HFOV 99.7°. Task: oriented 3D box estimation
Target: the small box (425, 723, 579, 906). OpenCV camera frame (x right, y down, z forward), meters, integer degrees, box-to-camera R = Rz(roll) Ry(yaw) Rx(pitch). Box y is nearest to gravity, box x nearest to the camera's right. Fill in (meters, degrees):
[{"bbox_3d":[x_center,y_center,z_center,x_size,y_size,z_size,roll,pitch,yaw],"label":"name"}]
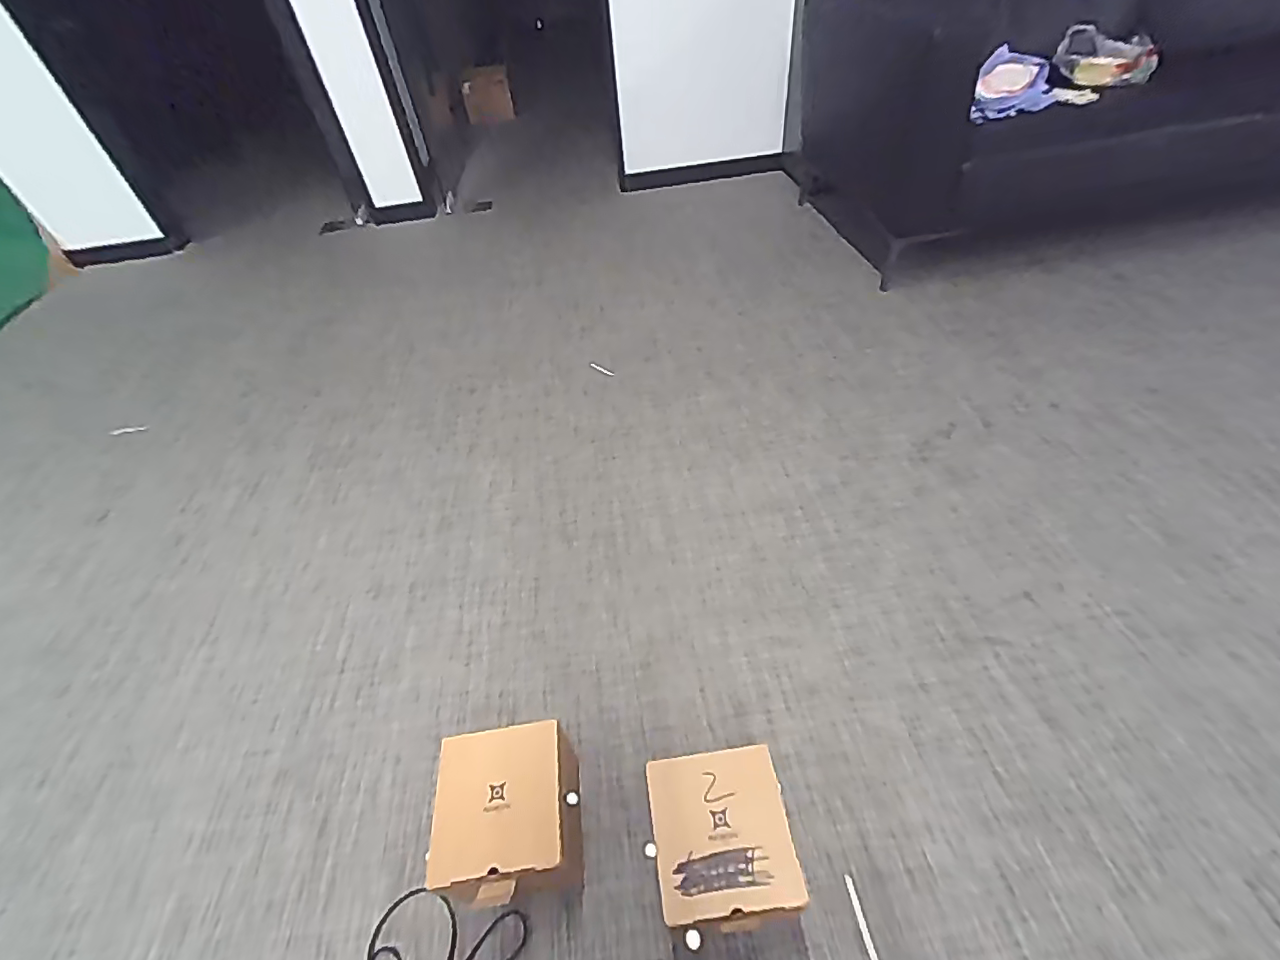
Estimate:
[{"bbox_3d":[-0.182,0.474,0.765,0.168,0.176,0.179,-9,46,-2],"label":"small box"}]
